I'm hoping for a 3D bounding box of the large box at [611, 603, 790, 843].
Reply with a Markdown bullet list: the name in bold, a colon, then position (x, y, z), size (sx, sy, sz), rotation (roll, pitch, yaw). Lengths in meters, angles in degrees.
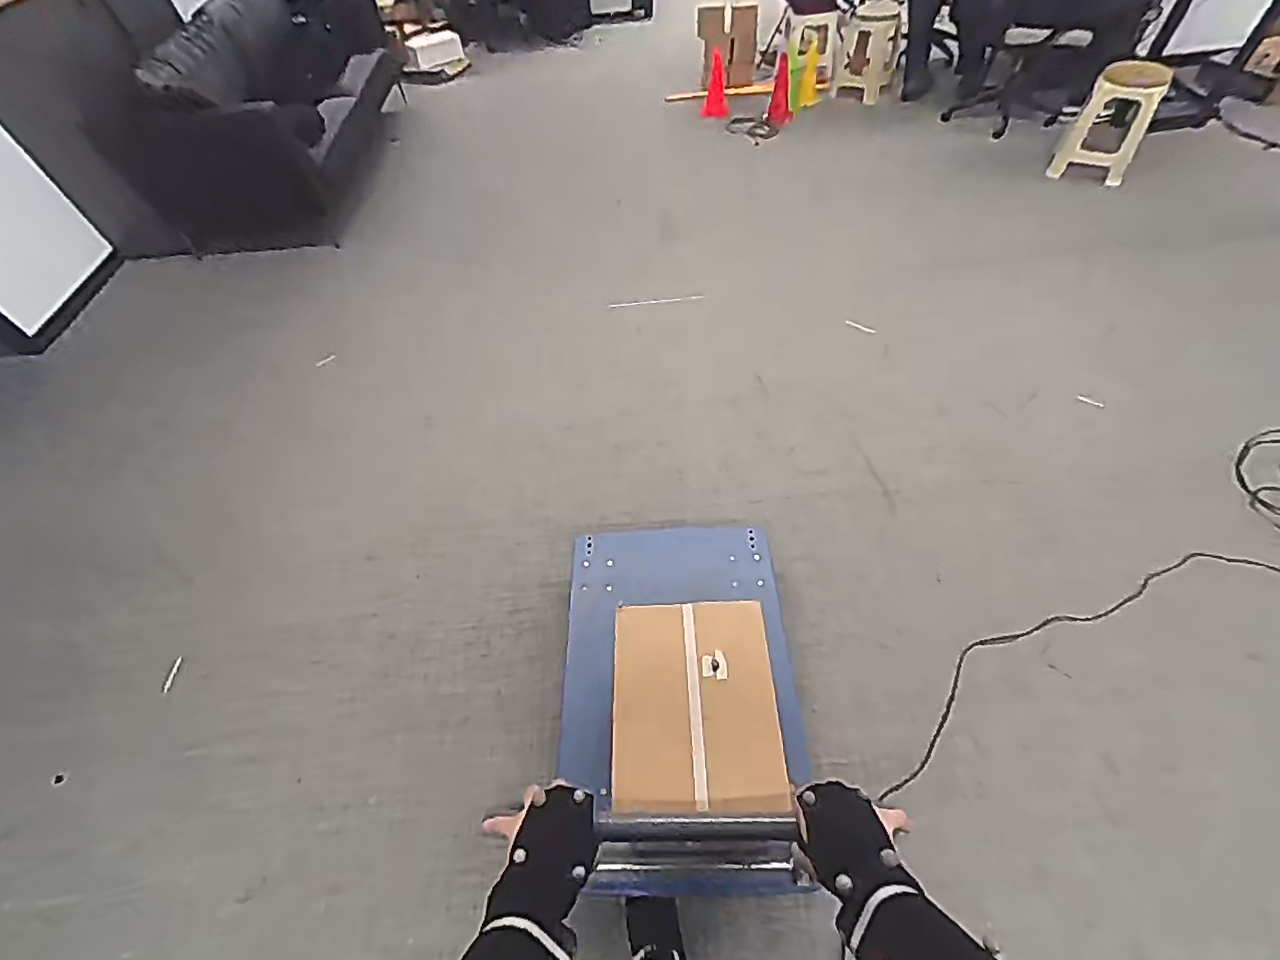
- **large box**: position (0.110, 0.523, 1.163), size (0.320, 0.320, 0.408), rotation (-3, 51, 2)
